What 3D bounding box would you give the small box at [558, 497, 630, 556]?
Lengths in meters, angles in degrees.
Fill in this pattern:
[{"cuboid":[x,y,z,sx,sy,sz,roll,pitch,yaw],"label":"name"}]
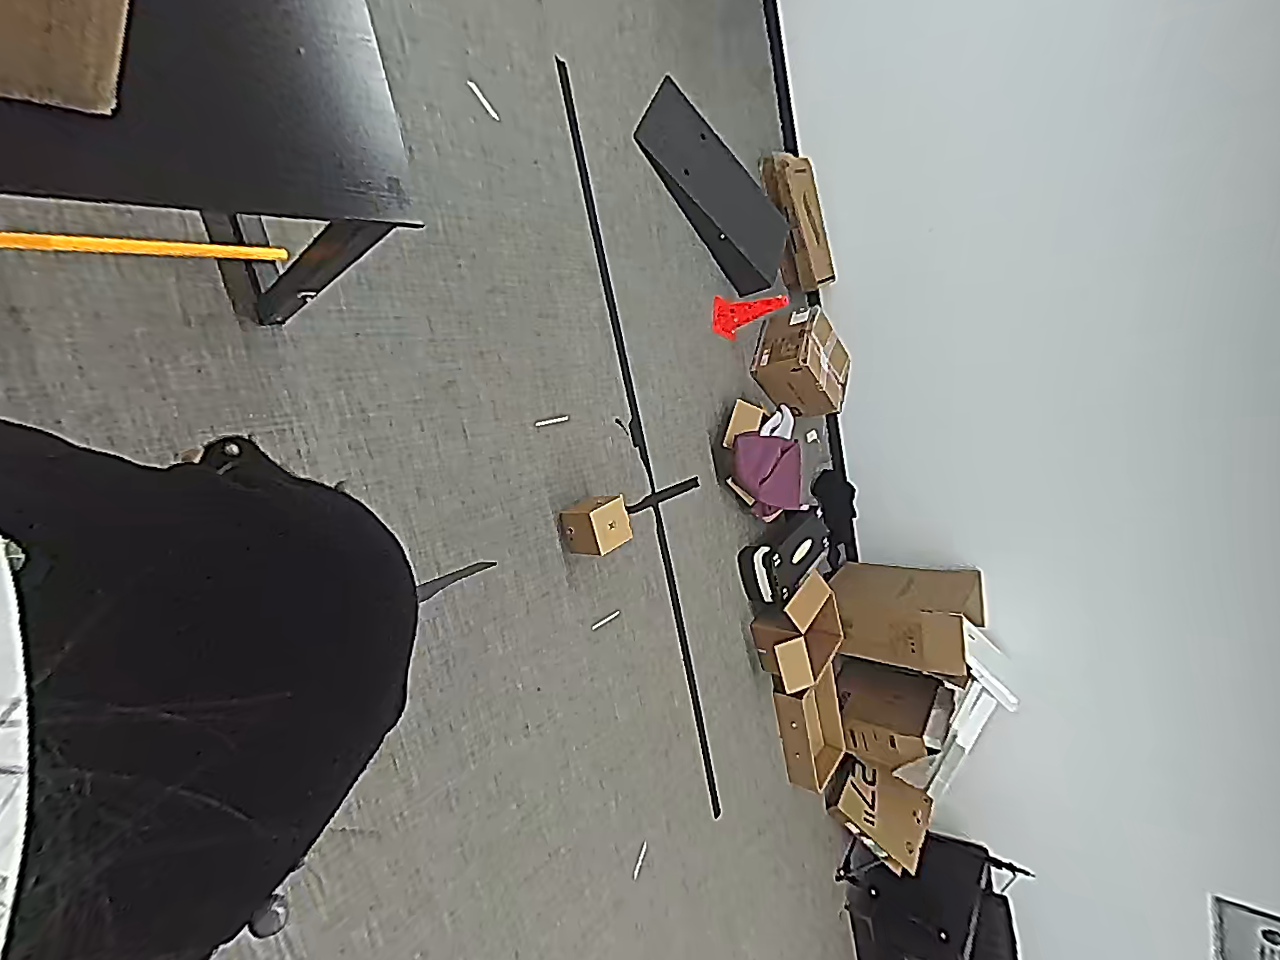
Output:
[{"cuboid":[-0.169,0.166,1.983,0.179,0.176,0.168,-27,107,-44],"label":"small box"}]
